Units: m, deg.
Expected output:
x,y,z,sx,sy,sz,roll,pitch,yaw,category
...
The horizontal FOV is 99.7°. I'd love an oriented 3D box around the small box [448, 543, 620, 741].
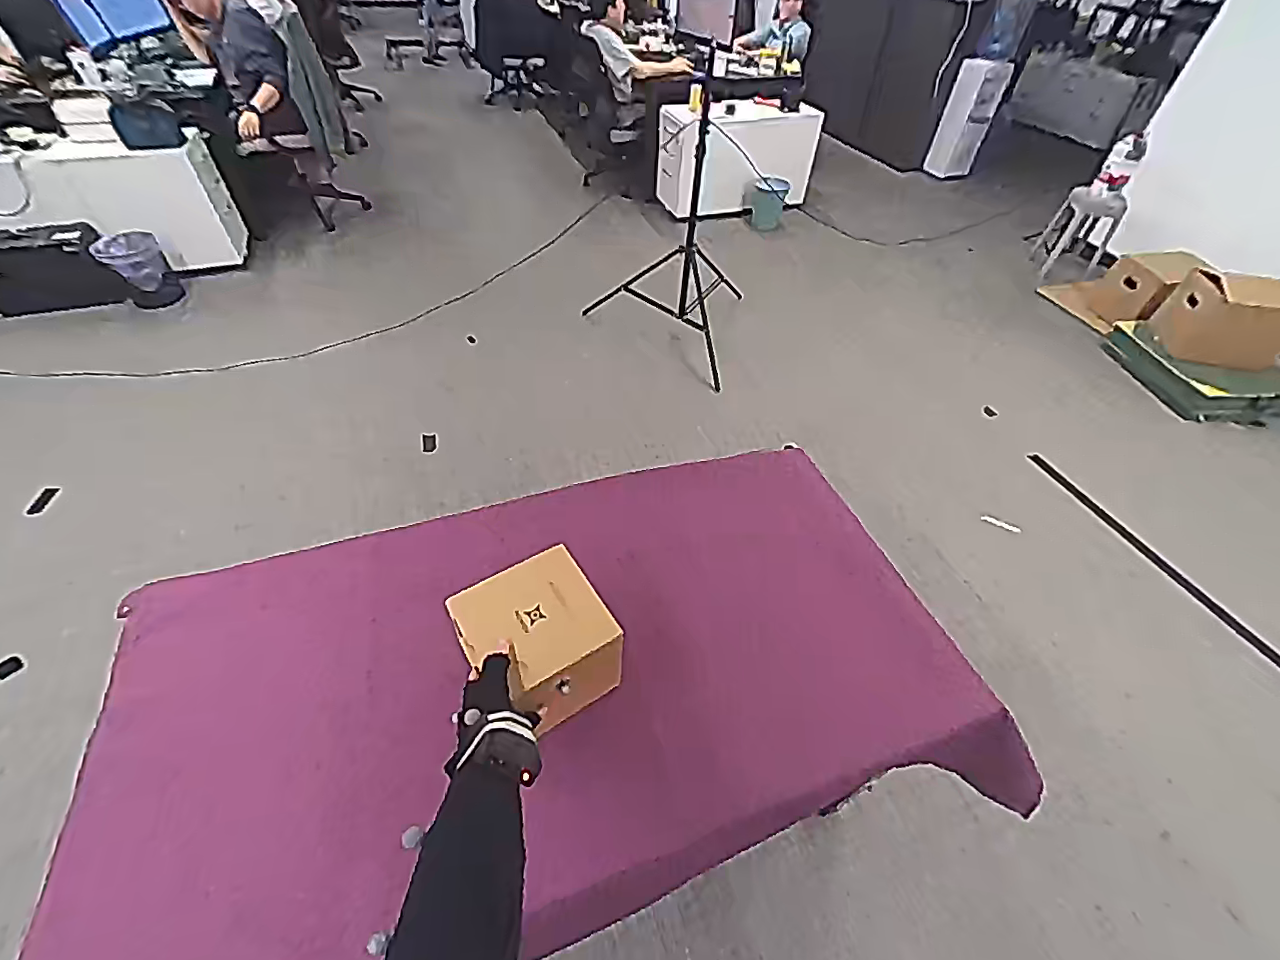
x,y,z,sx,sy,sz,roll,pitch,yaw,category
-0.140,0.228,0.756,0.179,0.176,0.168,-26,54,-24,small box
